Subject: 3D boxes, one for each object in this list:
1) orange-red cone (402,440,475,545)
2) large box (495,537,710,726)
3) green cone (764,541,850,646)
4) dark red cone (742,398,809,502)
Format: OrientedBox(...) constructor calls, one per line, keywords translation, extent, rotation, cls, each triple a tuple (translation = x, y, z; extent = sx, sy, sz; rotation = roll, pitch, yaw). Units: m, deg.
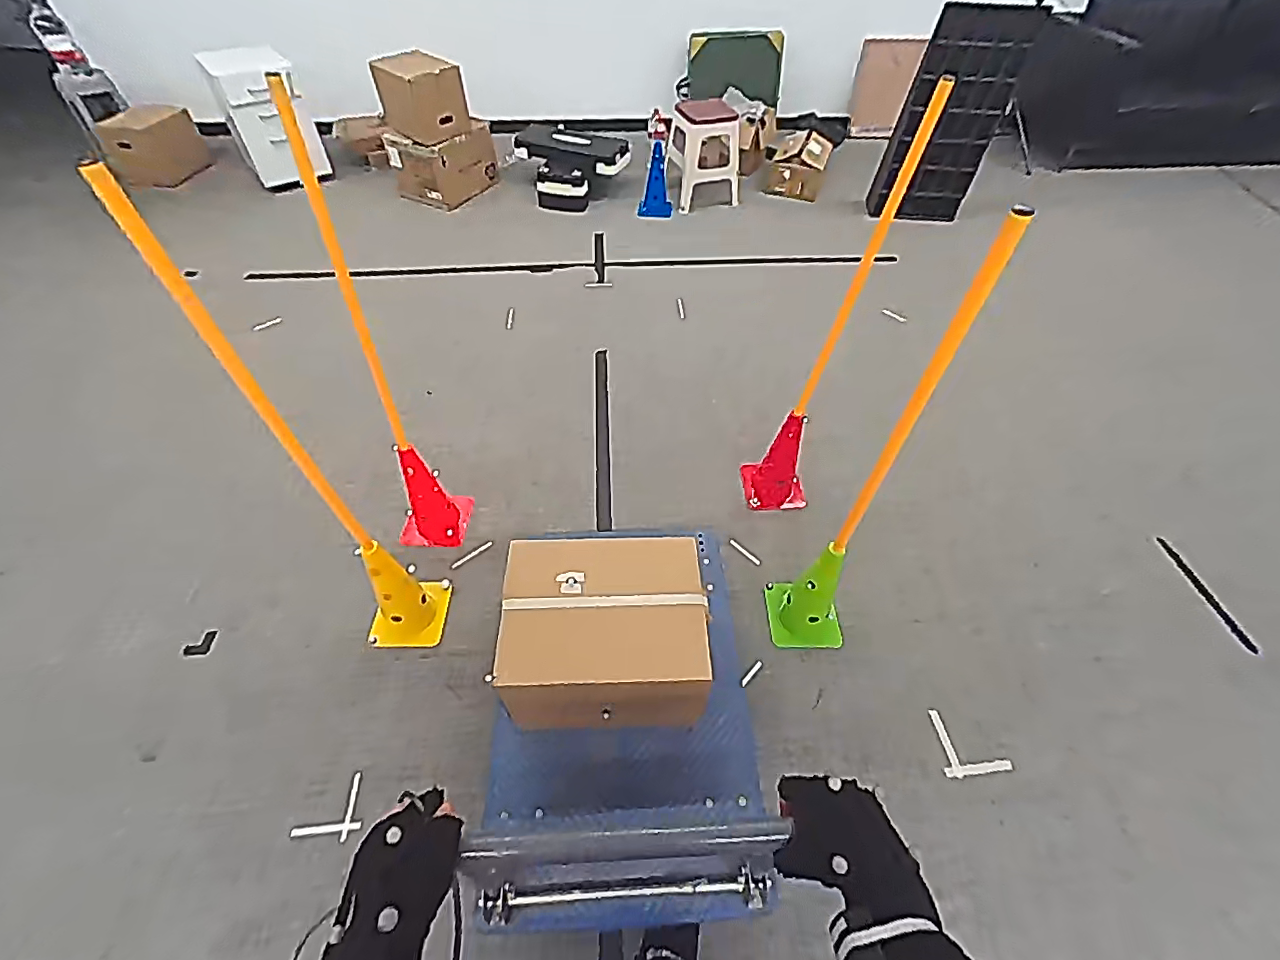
OrientedBox(translation=(-0.652, 0.014, 1.646), extent=(0.198, 0.360, 0.199), rotation=(5, 49, 1), cls="orange-red cone")
OrientedBox(translation=(-0.074, 0.342, 1.202), extent=(0.408, 0.320, 0.320), rotation=(-1, 51, -1), cls="large box")
OrientedBox(translation=(0.480, 0.281, 1.453), extent=(0.202, 0.368, 0.200), rotation=(2, 50, -2), cls="green cone")
OrientedBox(translation=(0.472, -0.104, 1.748), extent=(0.201, 0.394, 0.202), rotation=(-1, 51, -5), cls="dark red cone")
